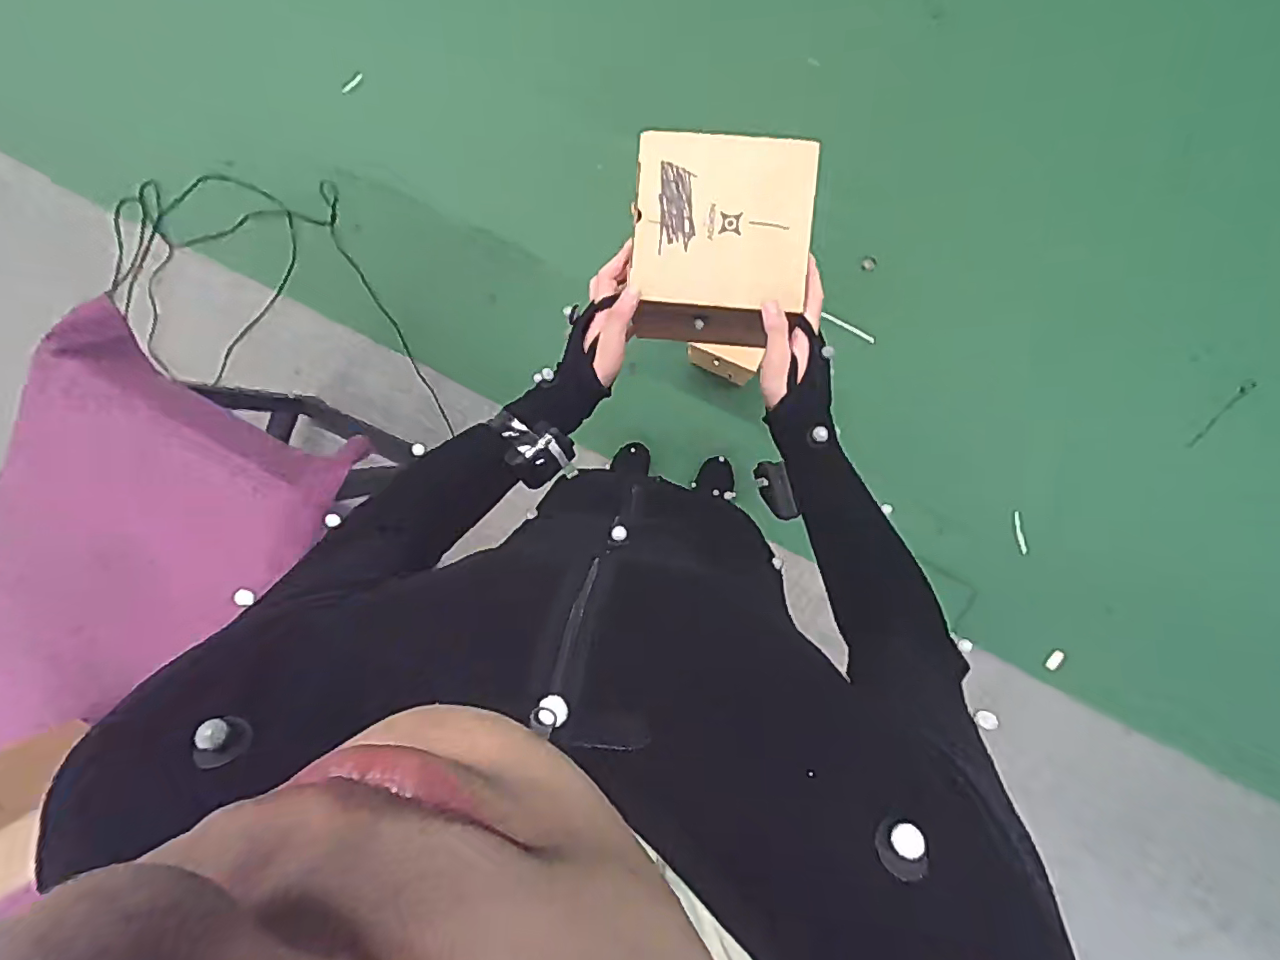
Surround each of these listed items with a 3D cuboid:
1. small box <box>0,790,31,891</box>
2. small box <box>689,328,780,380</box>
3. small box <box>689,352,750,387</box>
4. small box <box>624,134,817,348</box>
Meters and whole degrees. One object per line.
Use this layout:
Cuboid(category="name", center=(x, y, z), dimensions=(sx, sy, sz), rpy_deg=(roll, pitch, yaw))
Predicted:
Cuboid(category="small box", center=(-1.143, 0.602, 0.855), dimensions=(0.168, 0.176, 0.179), rpy_deg=(26, 97, 6))
Cuboid(category="small box", center=(0.237, -0.355, 1.335), dimensions=(0.179, 0.176, 0.168), rpy_deg=(25, 97, 7))
Cuboid(category="small box", center=(0.252, -0.367, 1.496), dimensions=(0.179, 0.176, 0.168), rpy_deg=(27, 97, 5))
Cuboid(category="small box", center=(0.082, -0.251, 0.606), dimensions=(0.179, 0.176, 0.168), rpy_deg=(5, 92, 2))
